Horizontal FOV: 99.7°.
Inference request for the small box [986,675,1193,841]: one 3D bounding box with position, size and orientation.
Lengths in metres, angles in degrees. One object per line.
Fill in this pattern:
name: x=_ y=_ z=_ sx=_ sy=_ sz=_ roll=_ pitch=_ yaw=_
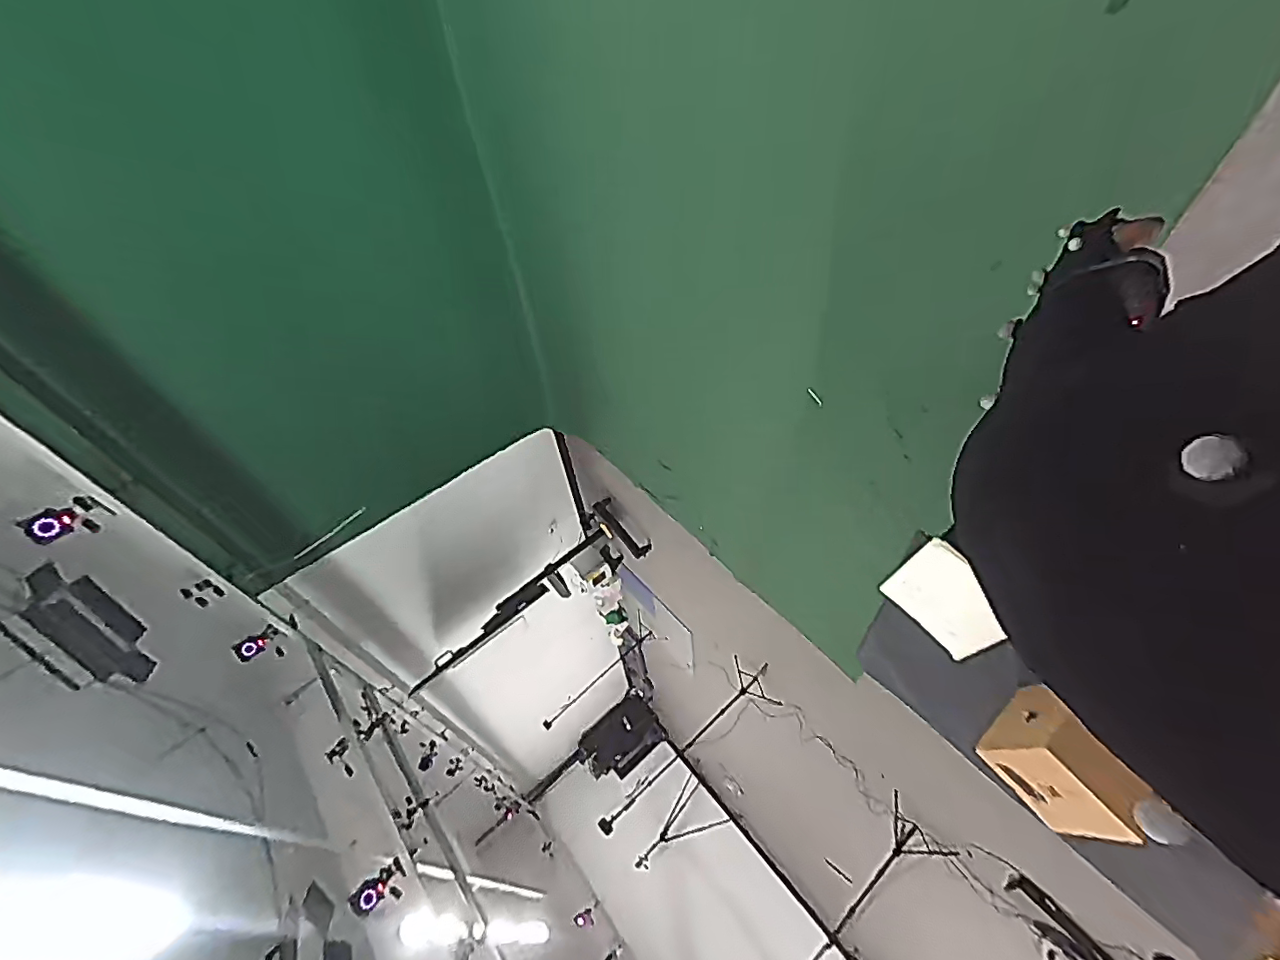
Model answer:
small box: x=0.738 y=0.450 z=0.896 sx=0.168 sy=0.176 sz=0.179 roll=47 pitch=157 yaw=18
